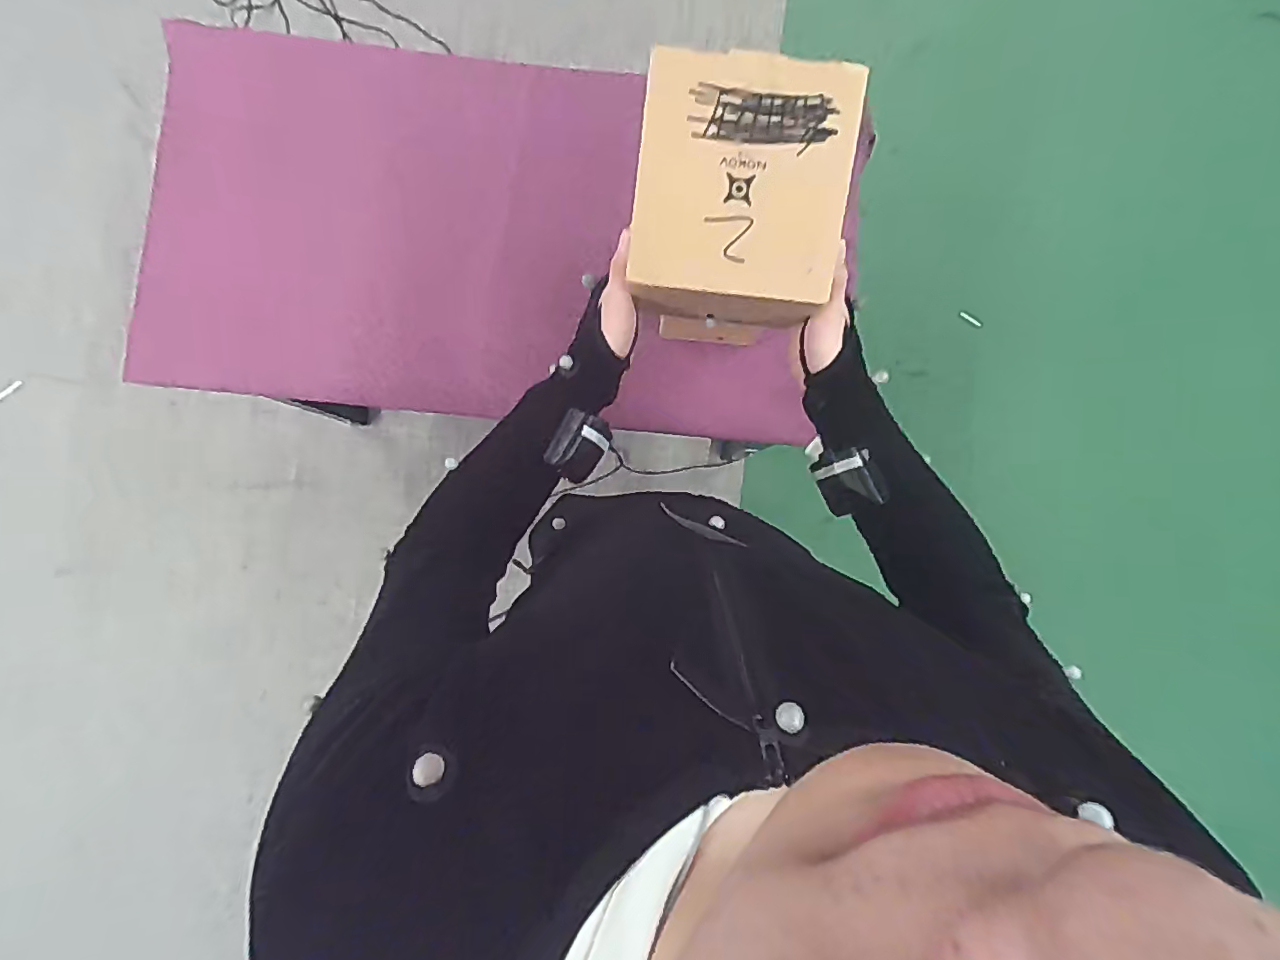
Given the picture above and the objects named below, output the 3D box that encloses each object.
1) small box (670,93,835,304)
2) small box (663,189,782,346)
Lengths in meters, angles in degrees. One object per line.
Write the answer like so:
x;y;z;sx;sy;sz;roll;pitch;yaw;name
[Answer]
0.133;-0.345;0.696;0.168;0.176;0.179;6;86;-2;small box
0.127;-0.331;0.861;0.168;0.176;0.179;4;85;-1;small box
